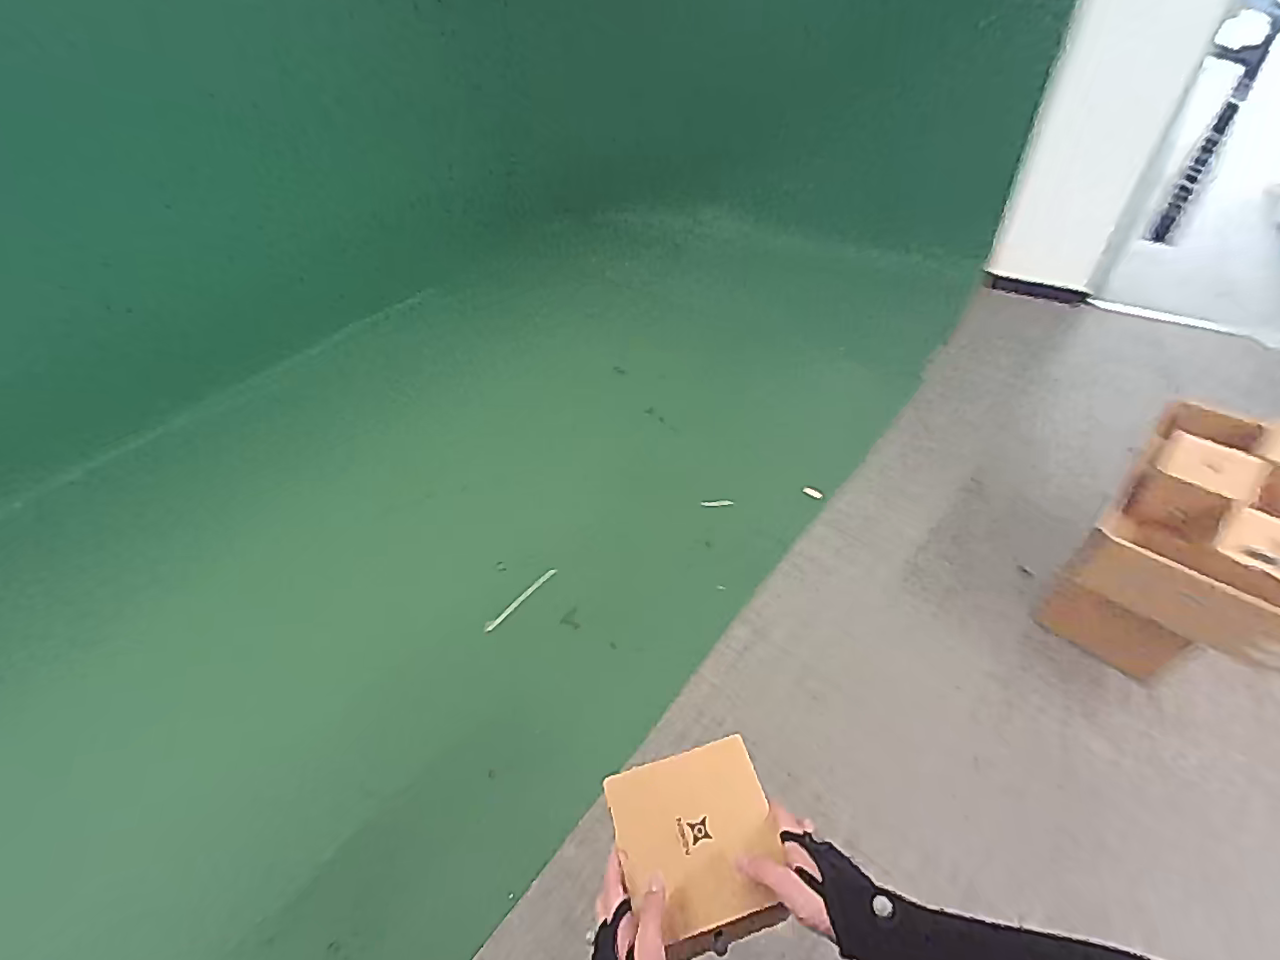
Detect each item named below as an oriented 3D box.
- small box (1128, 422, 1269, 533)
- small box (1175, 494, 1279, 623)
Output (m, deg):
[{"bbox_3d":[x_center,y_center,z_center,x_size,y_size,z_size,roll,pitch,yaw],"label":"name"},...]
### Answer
[{"bbox_3d":[1.339,-0.003,1.309,0.179,0.176,0.168,-40,54,-24],"label":"small box"},{"bbox_3d":[1.309,0.171,1.155,0.179,0.176,0.168,-37,53,-22],"label":"small box"}]
